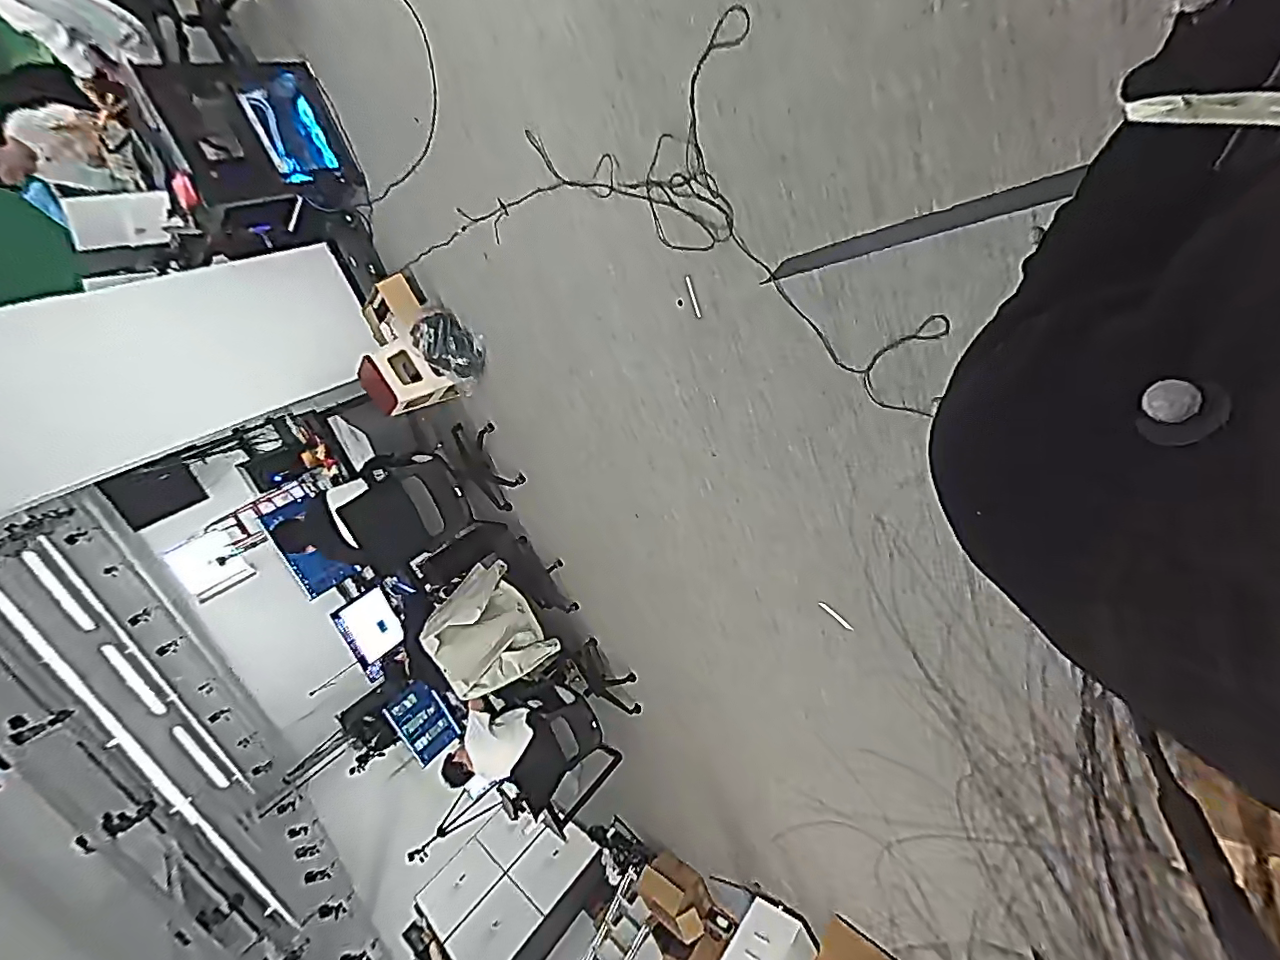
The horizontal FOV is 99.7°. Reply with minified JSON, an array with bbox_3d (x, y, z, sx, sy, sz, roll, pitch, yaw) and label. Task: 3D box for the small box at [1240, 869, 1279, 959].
[{"bbox_3d":[1.382,0.968,1.124,0.179,0.176,0.168,1,118,49],"label":"small box"}]
